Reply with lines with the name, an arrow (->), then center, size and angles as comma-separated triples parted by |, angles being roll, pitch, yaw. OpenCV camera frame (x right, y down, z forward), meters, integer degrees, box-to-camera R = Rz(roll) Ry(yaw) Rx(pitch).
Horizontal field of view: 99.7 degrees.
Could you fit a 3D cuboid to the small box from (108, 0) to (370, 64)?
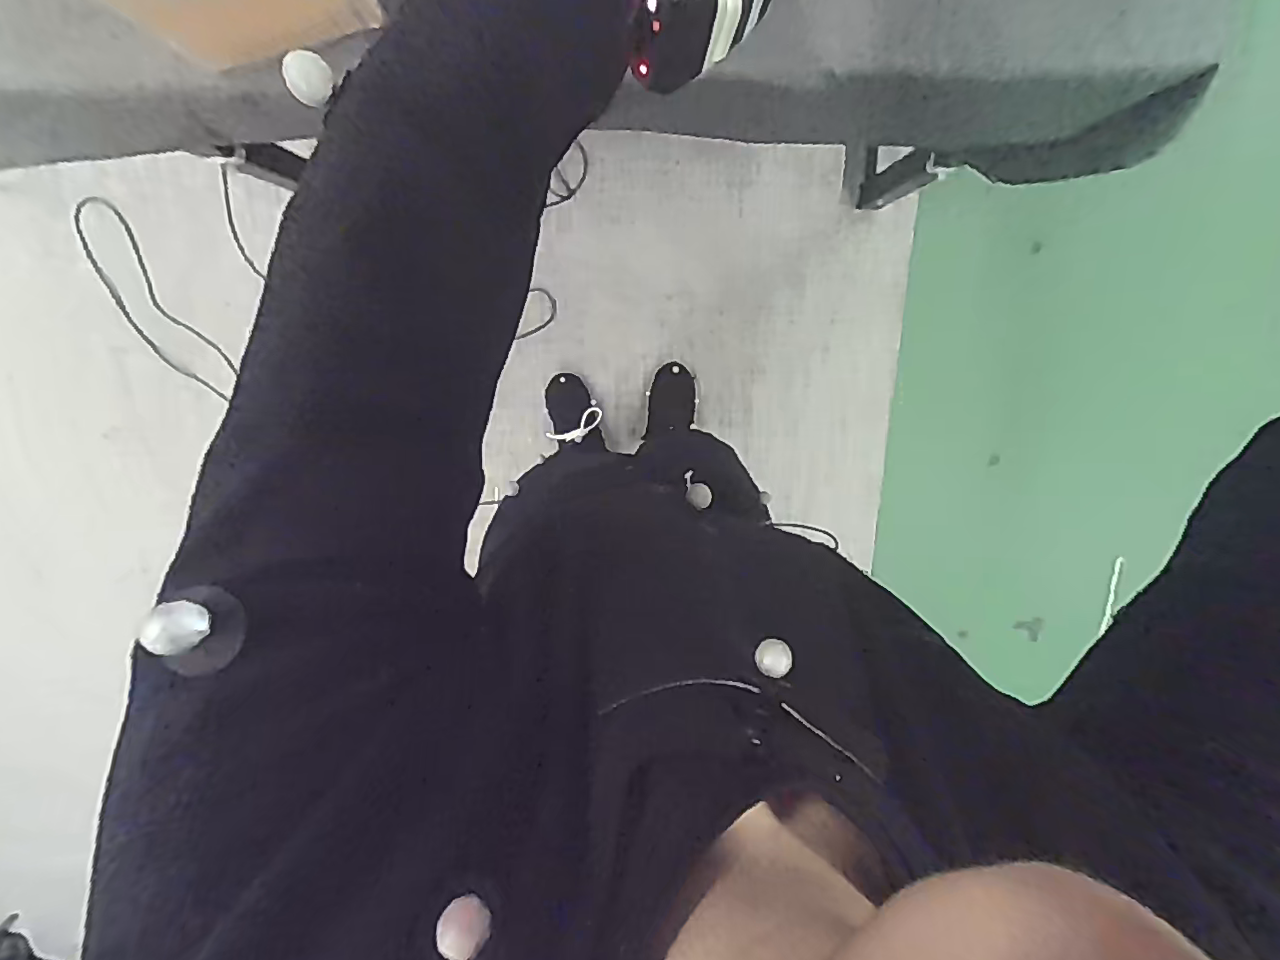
small box -> -0.332, -0.460, 0.406 | 0.179, 0.176, 0.168 | -11, 104, 3
